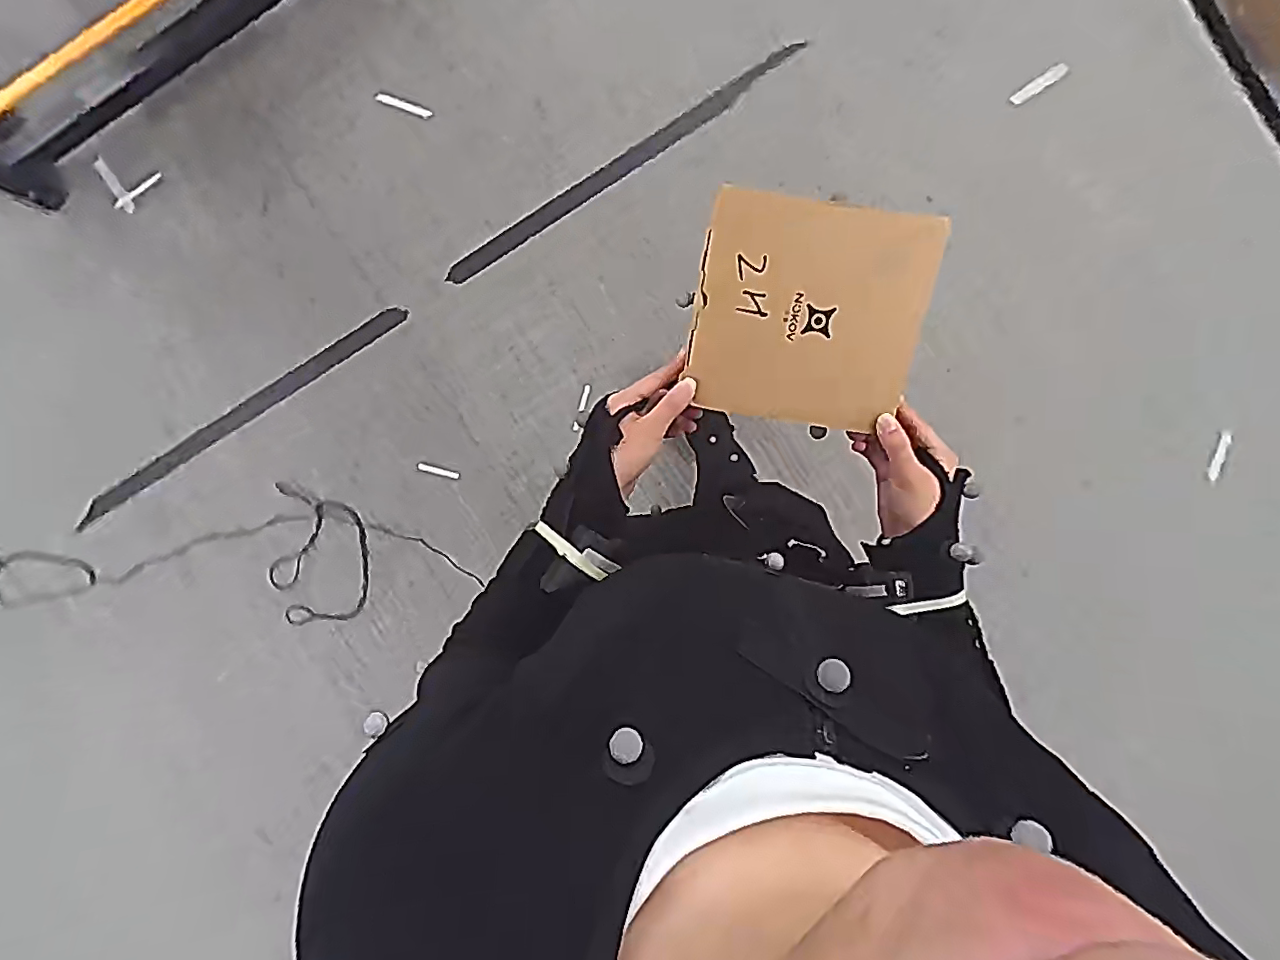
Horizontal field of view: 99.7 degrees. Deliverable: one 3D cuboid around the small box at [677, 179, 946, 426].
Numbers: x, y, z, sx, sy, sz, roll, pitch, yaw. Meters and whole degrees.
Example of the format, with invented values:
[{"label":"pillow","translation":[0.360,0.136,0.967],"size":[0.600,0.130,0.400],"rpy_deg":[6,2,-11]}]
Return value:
[{"label":"small box","translation":[0.133,-0.157,0.496],"size":[0.179,0.176,0.168],"rpy_deg":[9,108,2]}]
